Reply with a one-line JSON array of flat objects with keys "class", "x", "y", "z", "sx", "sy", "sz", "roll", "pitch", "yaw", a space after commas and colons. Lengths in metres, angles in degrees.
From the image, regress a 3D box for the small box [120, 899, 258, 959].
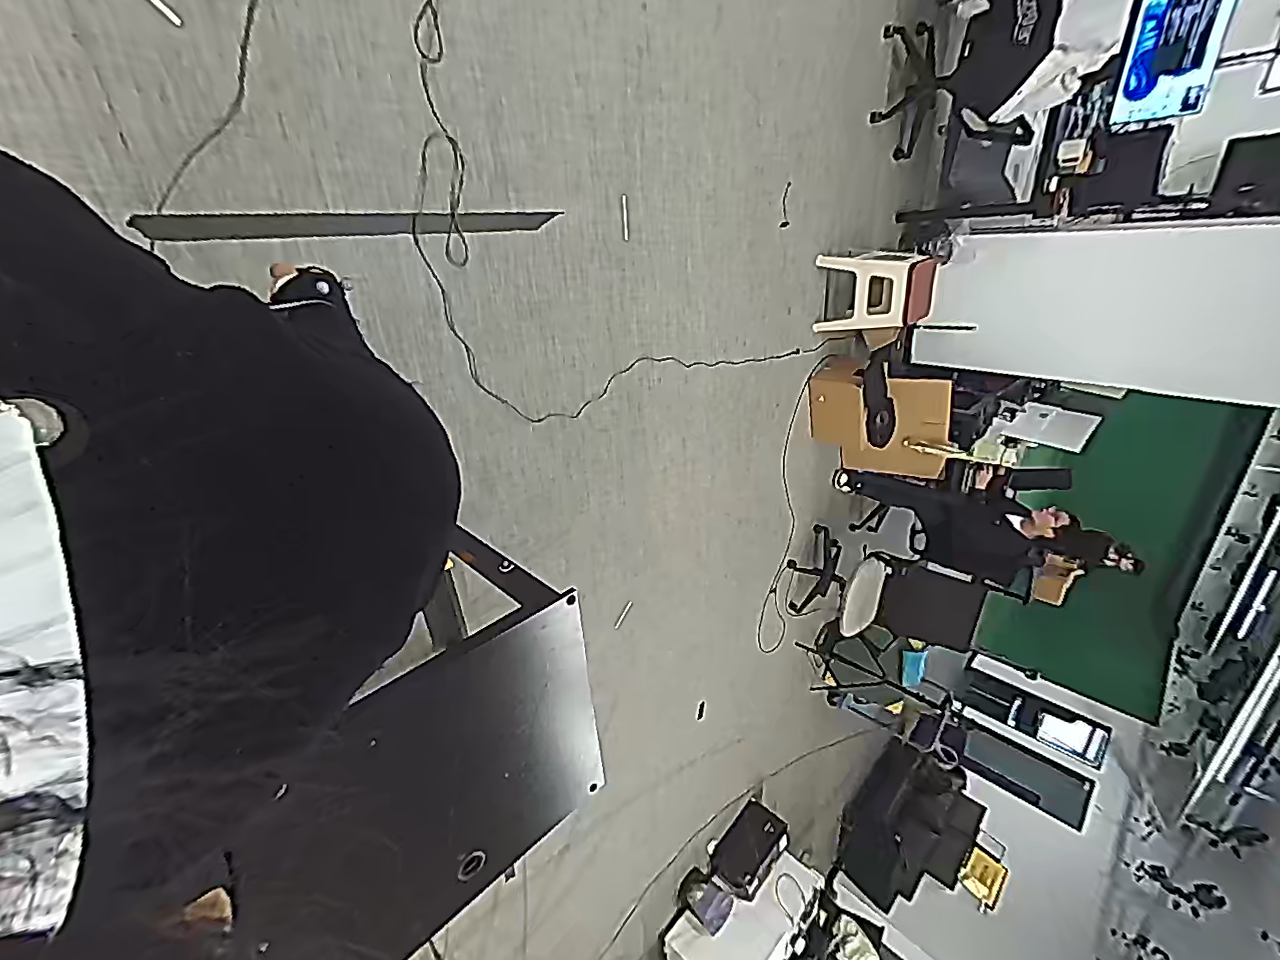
[{"class": "small box", "x": -0.596, "y": 0.707, "z": 0.696, "sx": 0.179, "sy": 0.176, "sz": 0.168, "roll": -23, "pitch": 121, "yaw": -38}]
